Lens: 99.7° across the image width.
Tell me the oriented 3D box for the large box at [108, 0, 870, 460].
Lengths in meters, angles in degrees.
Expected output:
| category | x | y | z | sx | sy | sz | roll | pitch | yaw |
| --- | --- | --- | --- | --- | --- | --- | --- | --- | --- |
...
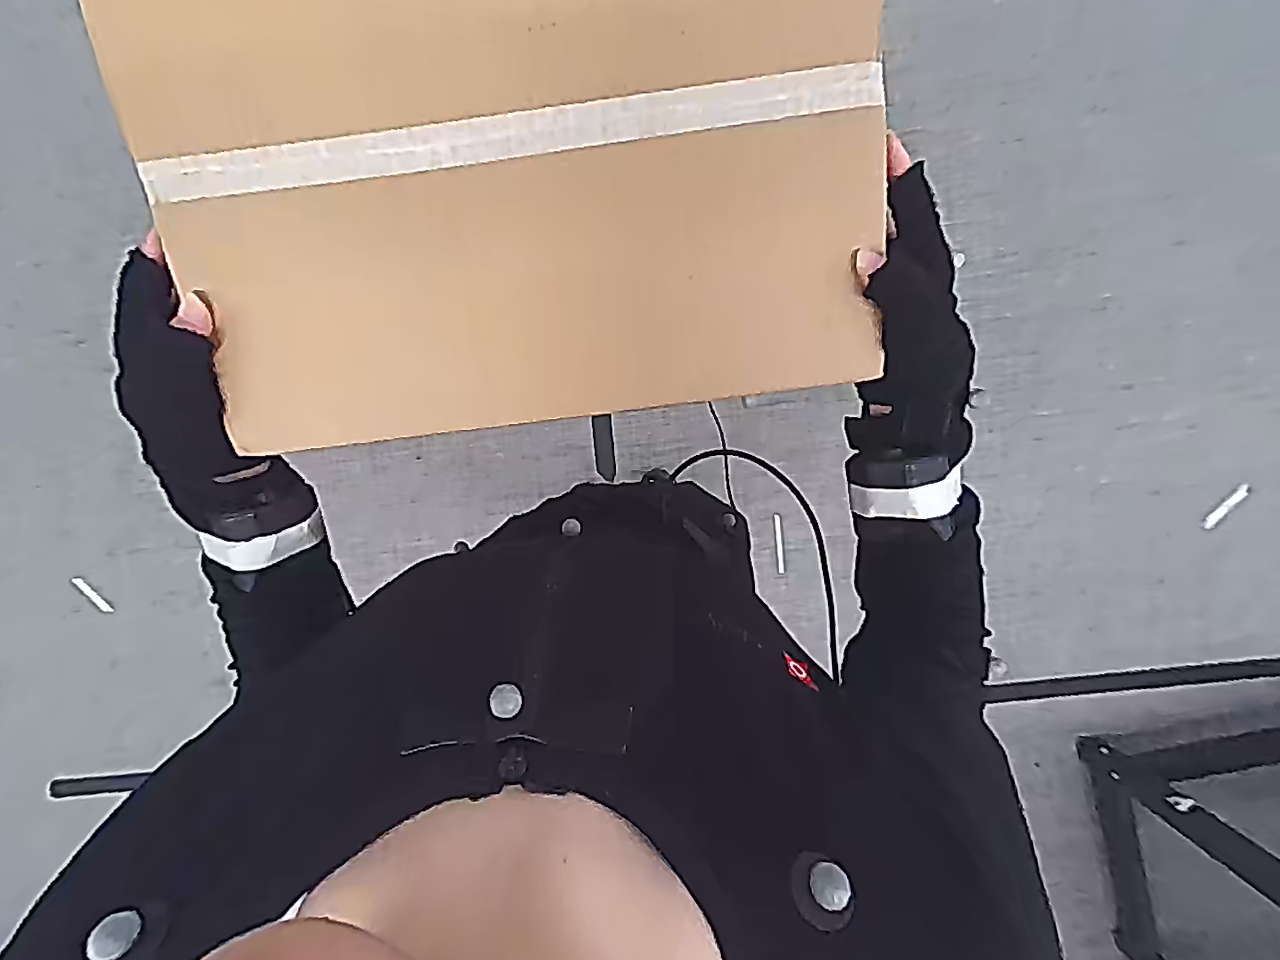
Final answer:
| category | x | y | z | sx | sy | sz | roll | pitch | yaw |
| --- | --- | --- | --- | --- | --- | --- | --- | --- | --- |
| large box | -0.071 | -0.227 | 0.449 | 0.408 | 0.320 | 0.320 | -7 | 105 | 1 |
